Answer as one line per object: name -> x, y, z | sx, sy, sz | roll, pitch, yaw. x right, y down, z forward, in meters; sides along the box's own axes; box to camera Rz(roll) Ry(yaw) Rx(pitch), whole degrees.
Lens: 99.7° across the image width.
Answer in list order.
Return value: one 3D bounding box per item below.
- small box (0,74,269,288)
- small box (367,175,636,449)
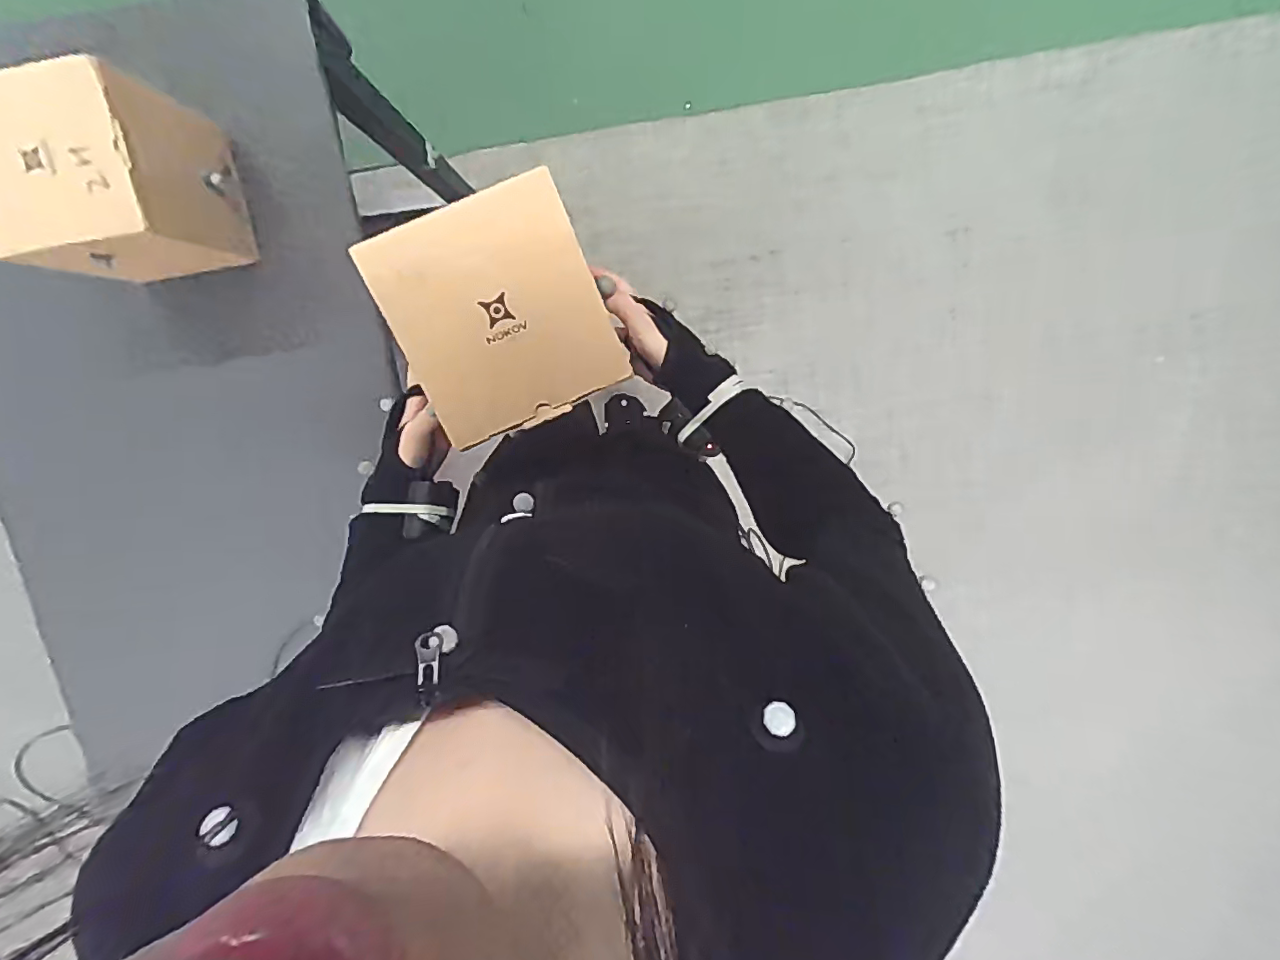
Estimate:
small box -> -0.598, -0.336, 0.644 | 0.179, 0.176, 0.168 | -8, 102, 4
small box -> -0.119, -0.153, 0.521 | 0.168, 0.176, 0.179 | -24, 108, 0
